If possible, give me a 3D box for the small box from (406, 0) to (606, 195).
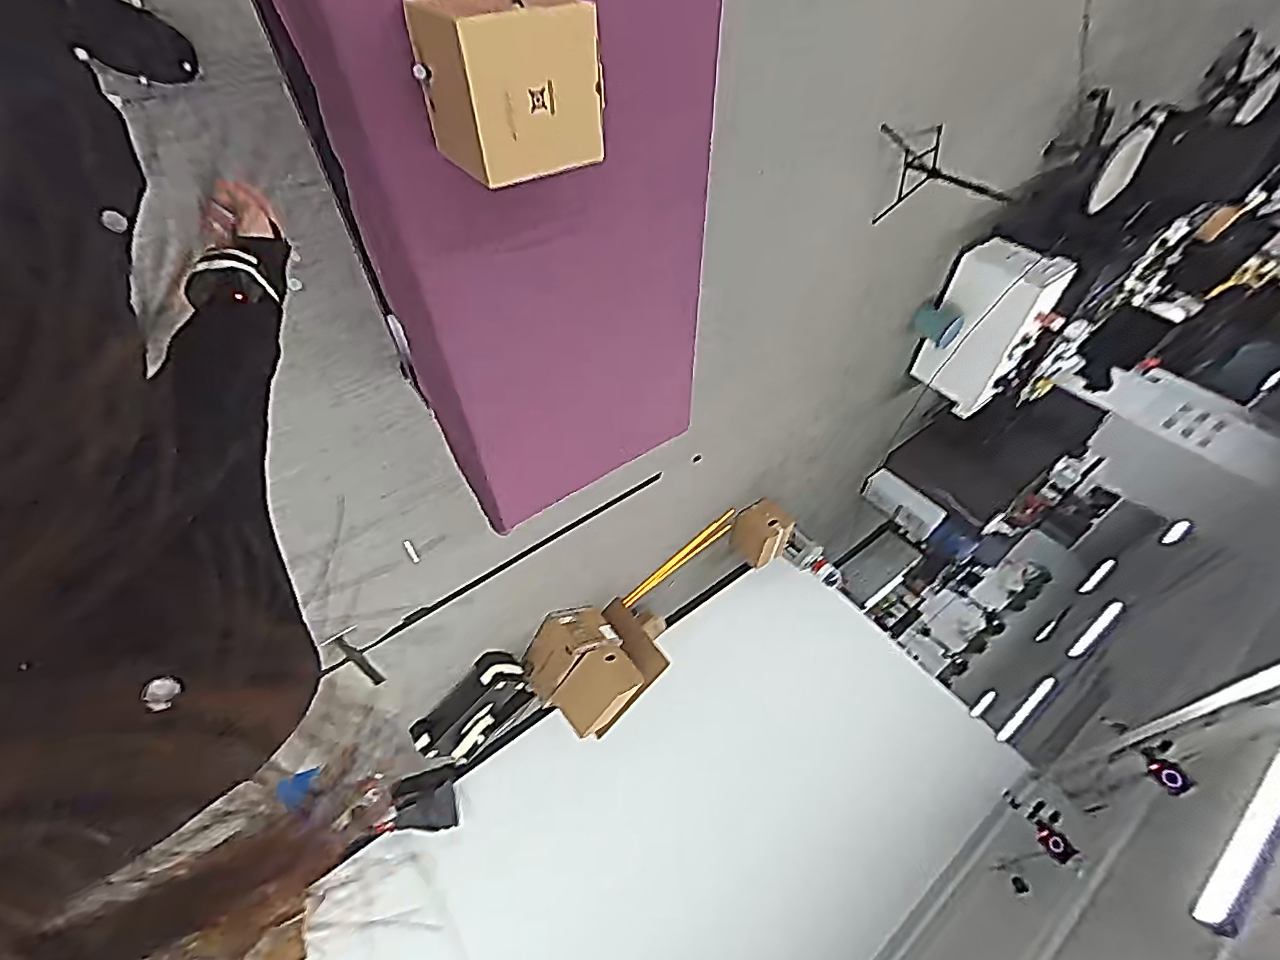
[{"bbox_3d":[-0.162,-0.491,0.683,0.179,0.176,0.168,-29,144,-23],"label":"small box"}]
